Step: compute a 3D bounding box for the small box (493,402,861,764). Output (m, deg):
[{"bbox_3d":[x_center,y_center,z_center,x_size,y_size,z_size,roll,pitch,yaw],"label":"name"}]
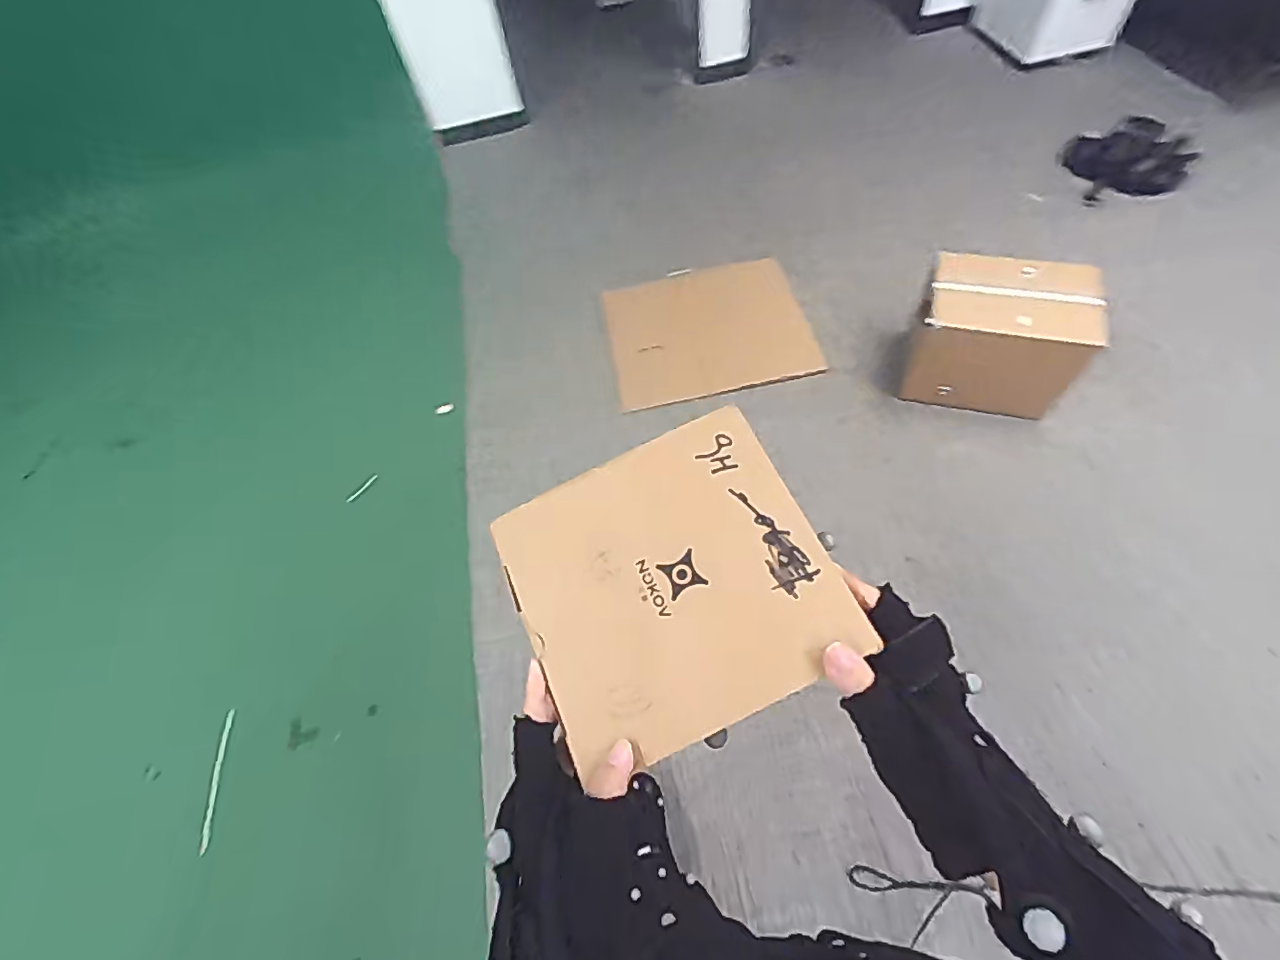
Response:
[{"bbox_3d":[0.026,0.081,0.397,0.179,0.176,0.168,-28,66,-3],"label":"small box"}]
